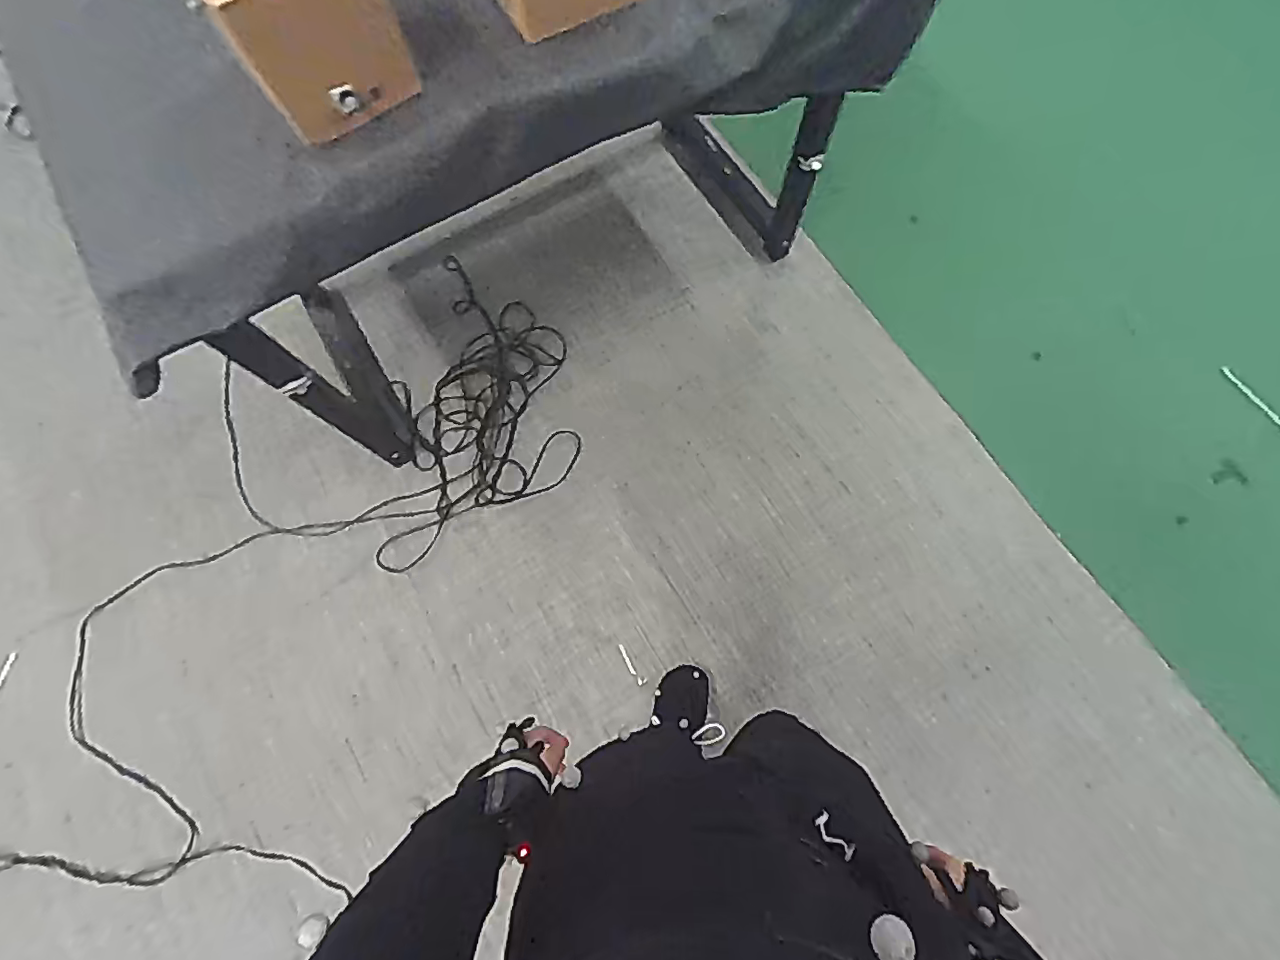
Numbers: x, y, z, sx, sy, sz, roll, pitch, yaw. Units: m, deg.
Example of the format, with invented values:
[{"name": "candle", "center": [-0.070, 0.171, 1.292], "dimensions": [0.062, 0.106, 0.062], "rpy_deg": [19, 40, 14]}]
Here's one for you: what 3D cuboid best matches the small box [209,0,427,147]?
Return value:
[{"name": "small box", "center": [-0.387, -0.541, 0.631], "dimensions": [0.168, 0.176, 0.179], "rpy_deg": [-38, 77, -8]}]
